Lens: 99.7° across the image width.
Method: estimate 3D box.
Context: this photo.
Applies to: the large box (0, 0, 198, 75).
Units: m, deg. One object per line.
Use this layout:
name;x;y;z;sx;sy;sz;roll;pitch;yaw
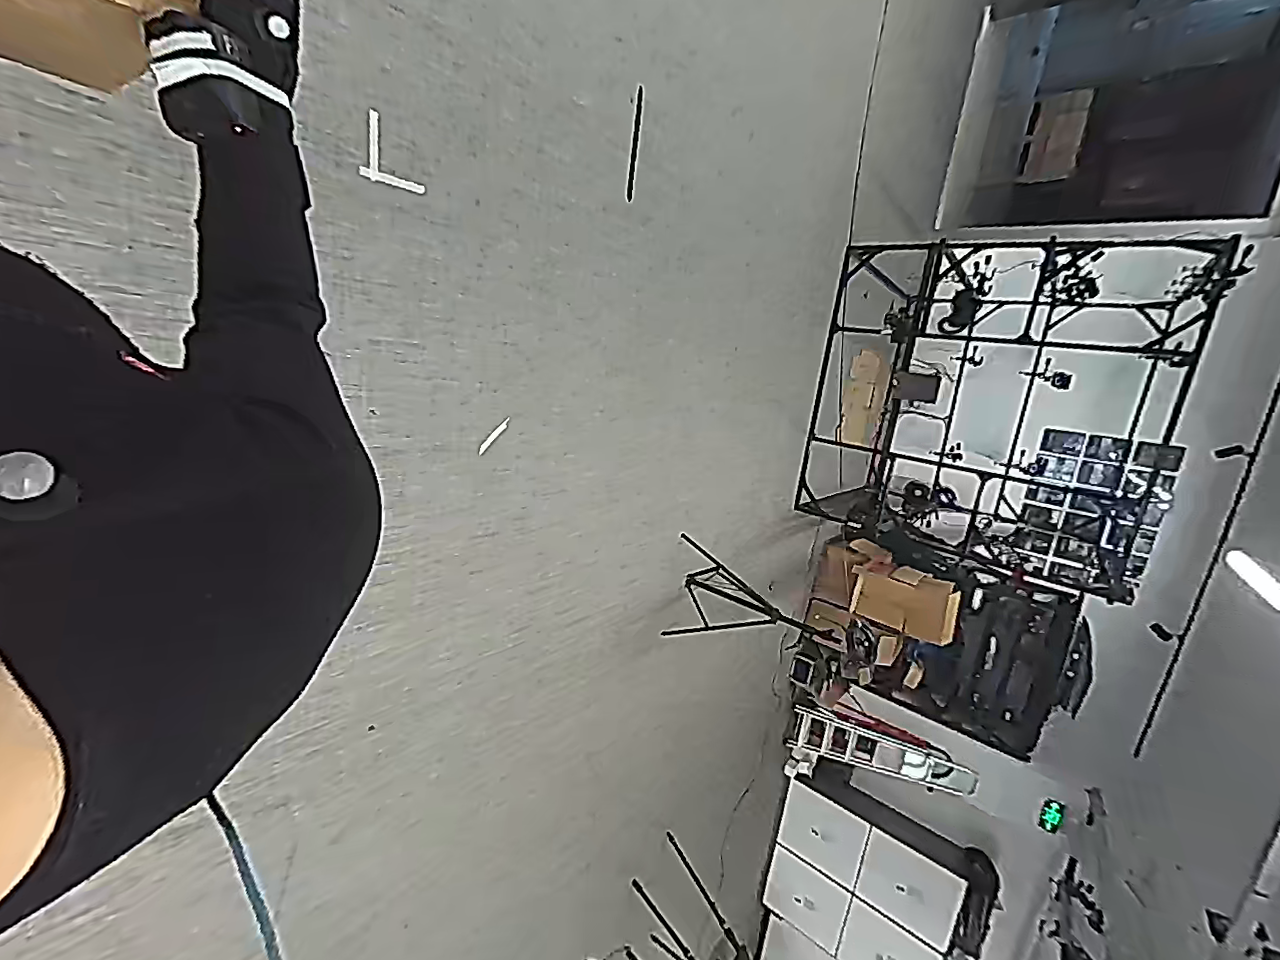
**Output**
large box;-0.534;-0.494;0.281;0.408;0.320;0.320;-9;115;-53
